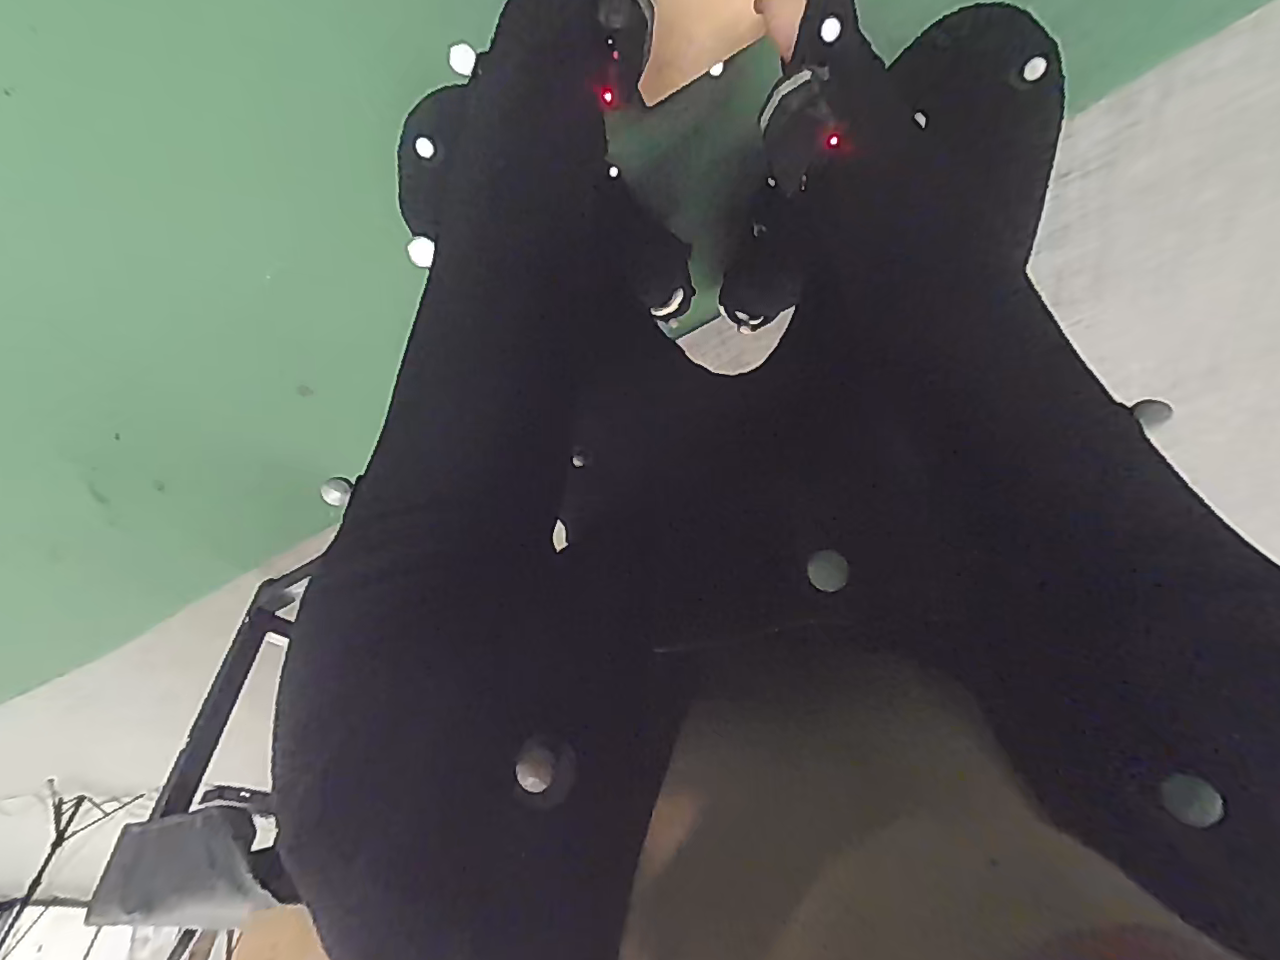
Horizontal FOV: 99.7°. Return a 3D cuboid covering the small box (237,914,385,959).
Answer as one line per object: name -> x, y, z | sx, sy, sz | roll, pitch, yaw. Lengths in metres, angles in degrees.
small box -> -0.564, 0.843, 0.905 | 0.179, 0.176, 0.168 | -19, 137, 19

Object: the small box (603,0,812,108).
small box -> 0.045, -0.520, 0.532 | 0.179, 0.176, 0.168 | -21, 136, 18
